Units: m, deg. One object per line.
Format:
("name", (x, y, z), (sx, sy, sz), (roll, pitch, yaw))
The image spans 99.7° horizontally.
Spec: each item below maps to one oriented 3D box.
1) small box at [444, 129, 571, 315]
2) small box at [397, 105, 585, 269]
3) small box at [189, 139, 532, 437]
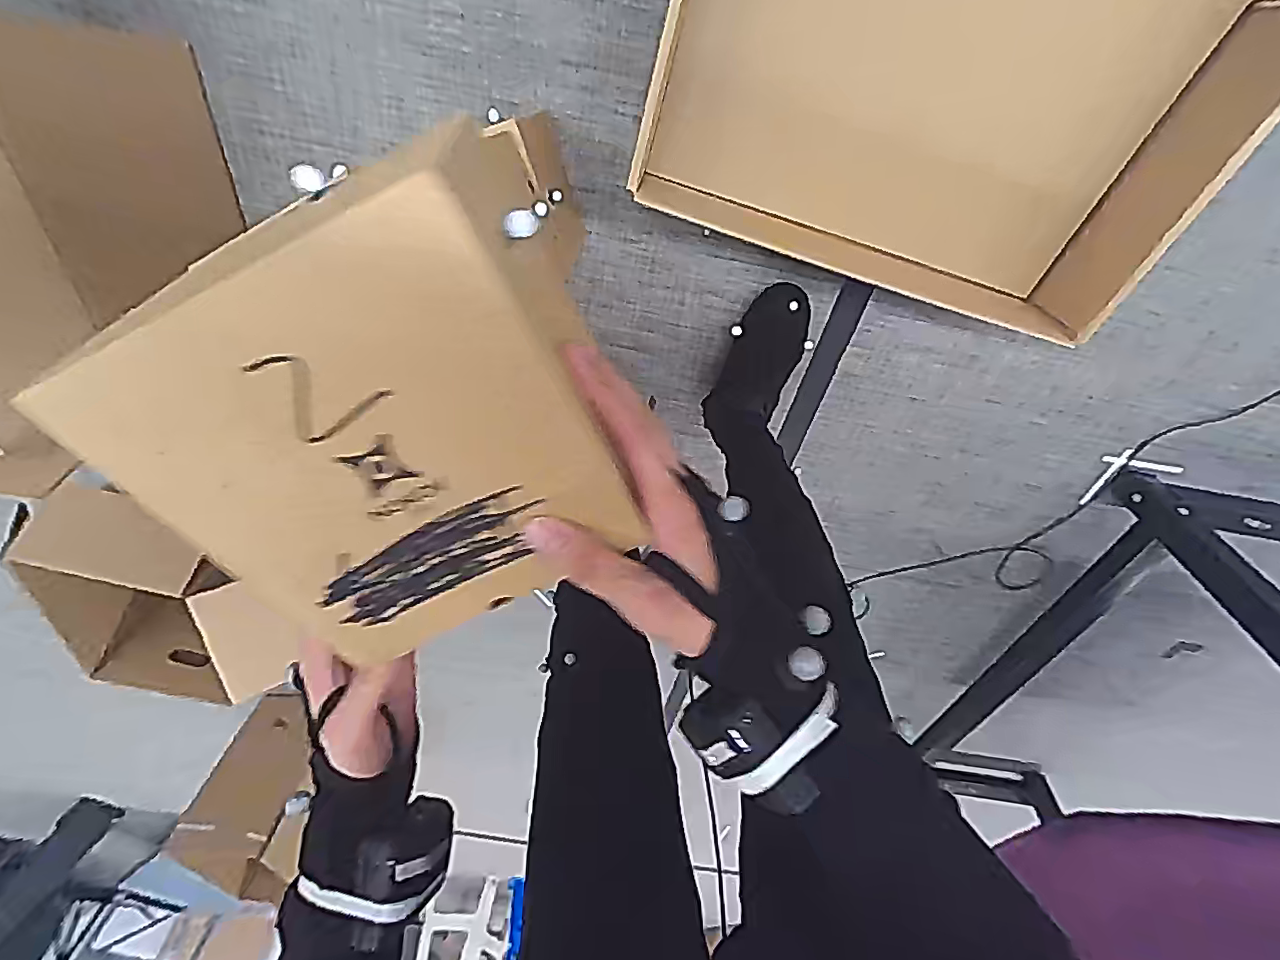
("small box", (-0.200, -0.270, 0.614), (0.179, 0.176, 0.168), (-16, 125, 17))
("small box", (-0.184, -0.383, 0.734), (0.168, 0.176, 0.179), (-8, 126, 12))
("small box", (-0.221, -0.171, 0.484), (0.168, 0.176, 0.179), (-16, 123, 19))
